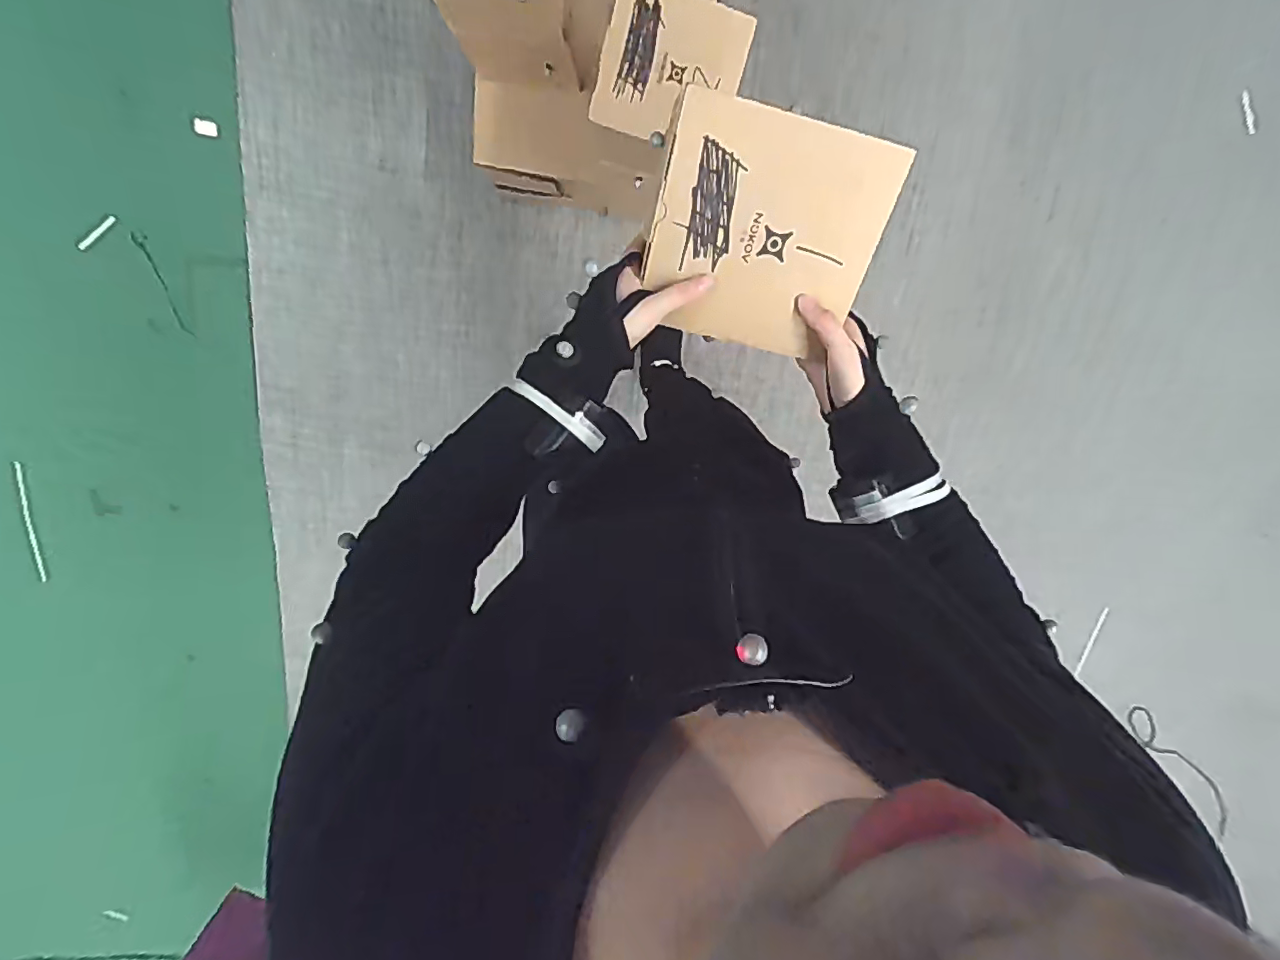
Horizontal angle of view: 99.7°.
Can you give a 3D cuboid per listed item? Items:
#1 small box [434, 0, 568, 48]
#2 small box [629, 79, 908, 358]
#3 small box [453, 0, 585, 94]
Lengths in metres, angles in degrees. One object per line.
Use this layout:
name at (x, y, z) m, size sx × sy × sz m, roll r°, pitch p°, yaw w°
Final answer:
small box at (-0.185, -0.700, 0.696) m, size 0.179 × 0.176 × 0.168 m, roll 6°, pitch 105°, yaw -4°
small box at (0.093, -0.230, 0.491) m, size 0.179 × 0.176 × 0.168 m, roll 12°, pitch 119°, yaw -7°
small box at (-0.182, -0.741, 0.853) m, size 0.179 × 0.176 × 0.168 m, roll 5°, pitch 105°, yaw -2°
